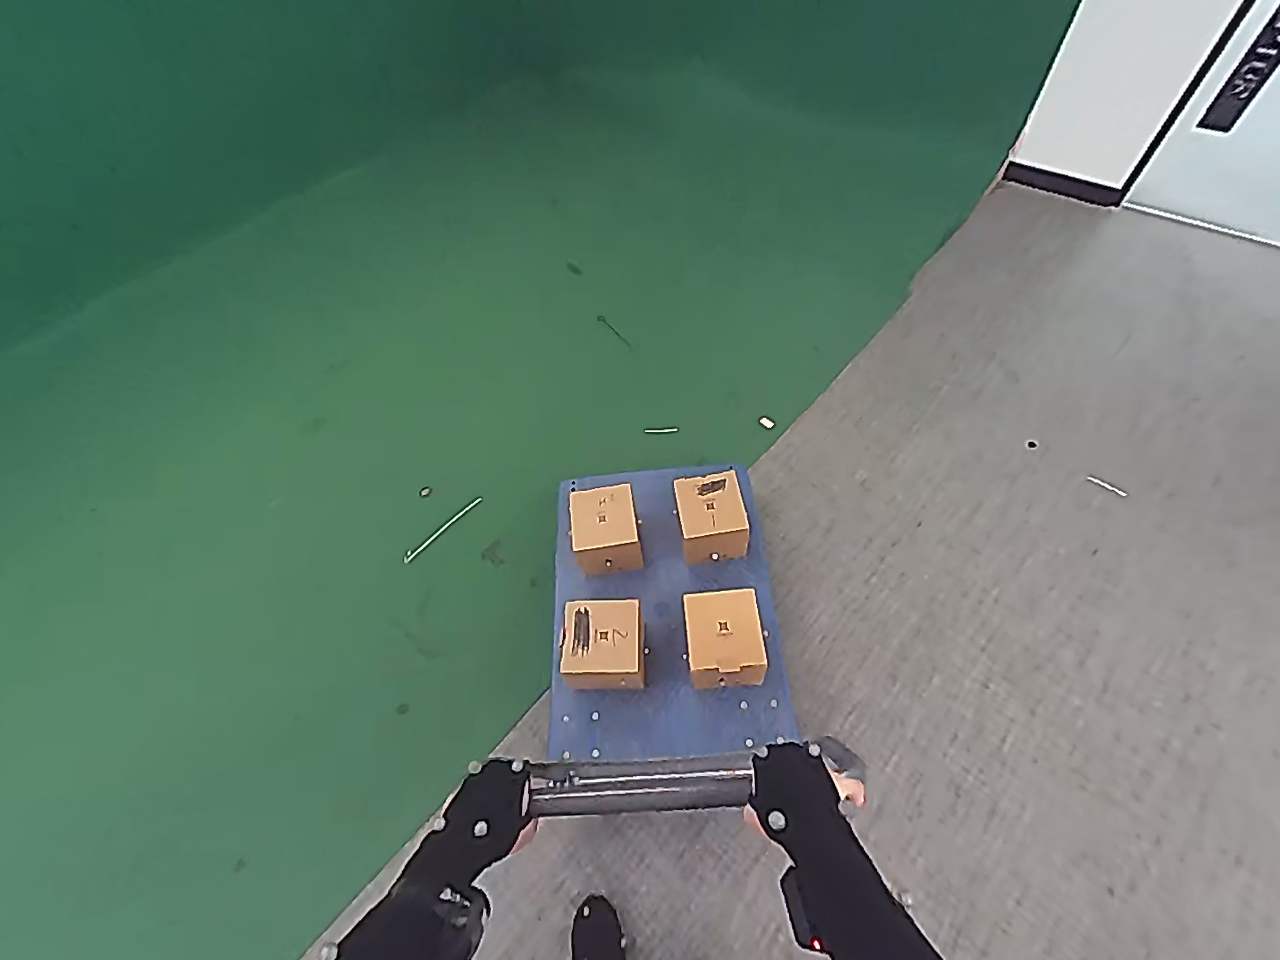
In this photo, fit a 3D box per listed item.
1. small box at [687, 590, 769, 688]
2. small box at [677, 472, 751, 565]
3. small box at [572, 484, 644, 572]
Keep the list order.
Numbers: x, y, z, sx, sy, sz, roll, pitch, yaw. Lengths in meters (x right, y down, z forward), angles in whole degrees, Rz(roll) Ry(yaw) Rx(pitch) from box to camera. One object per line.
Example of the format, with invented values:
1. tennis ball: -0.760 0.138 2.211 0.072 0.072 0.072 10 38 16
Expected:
1. small box: 0.197 0.374 1.264 0.168 0.176 0.179 -6 58 3
2. small box: 0.191 0.105 1.433 0.168 0.176 0.179 -9 58 1
3. small box: -0.084 0.136 1.444 0.168 0.176 0.179 -8 57 0
